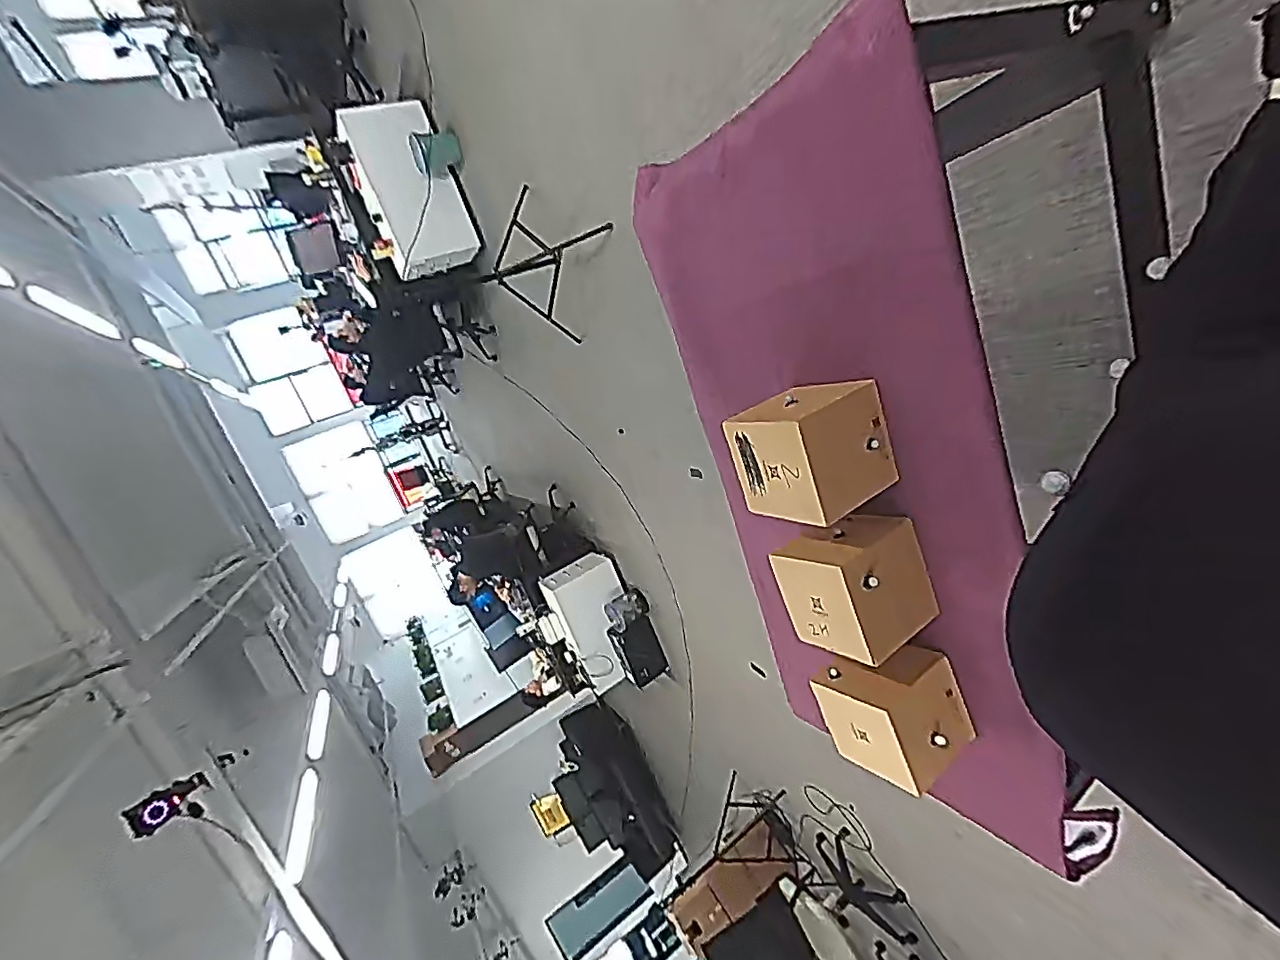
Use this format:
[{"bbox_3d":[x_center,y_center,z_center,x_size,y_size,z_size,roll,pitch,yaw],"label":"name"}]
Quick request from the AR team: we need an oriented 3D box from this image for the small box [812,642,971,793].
[{"bbox_3d":[0.448,0.397,0.957,0.179,0.176,0.168,-8,107,66],"label":"small box"}]

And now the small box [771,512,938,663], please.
[{"bbox_3d":[0.356,0.165,0.901,0.168,0.176,0.179,-1,114,65],"label":"small box"}]
